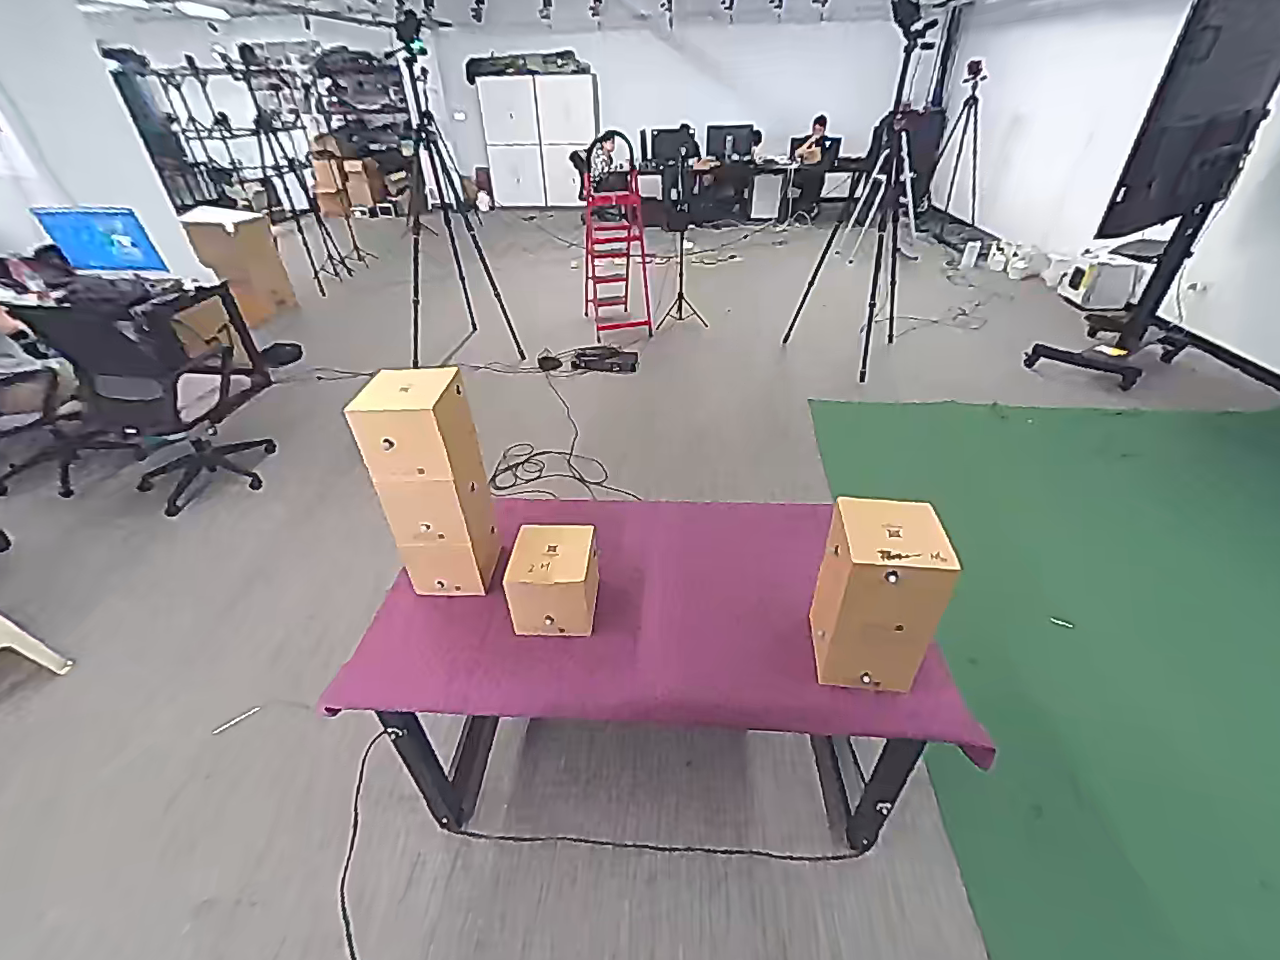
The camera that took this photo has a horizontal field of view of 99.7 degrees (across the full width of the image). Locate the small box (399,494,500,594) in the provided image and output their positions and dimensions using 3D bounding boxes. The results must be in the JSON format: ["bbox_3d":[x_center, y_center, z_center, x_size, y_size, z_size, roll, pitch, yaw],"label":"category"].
[{"bbox_3d":[-0.439,0.149,1.282,0.168,0.176,0.179,0,37,2],"label":"small box"}]

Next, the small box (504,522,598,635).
[{"bbox_3d":[-0.184,0.213,1.184,0.168,0.176,0.179,0,36,3],"label":"small box"}]

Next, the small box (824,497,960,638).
[{"bbox_3d":[0.431,0.152,0.961,0.168,0.176,0.179,3,35,9],"label":"small box"}]

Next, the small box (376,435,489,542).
[{"bbox_3d":[-0.442,0.016,1.187,0.168,0.176,0.179,-1,37,2],"label":"small box"}]

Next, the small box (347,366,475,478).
[{"bbox_3d":[-0.447,-0.114,1.091,0.168,0.176,0.179,-1,36,2],"label":"small box"}]
